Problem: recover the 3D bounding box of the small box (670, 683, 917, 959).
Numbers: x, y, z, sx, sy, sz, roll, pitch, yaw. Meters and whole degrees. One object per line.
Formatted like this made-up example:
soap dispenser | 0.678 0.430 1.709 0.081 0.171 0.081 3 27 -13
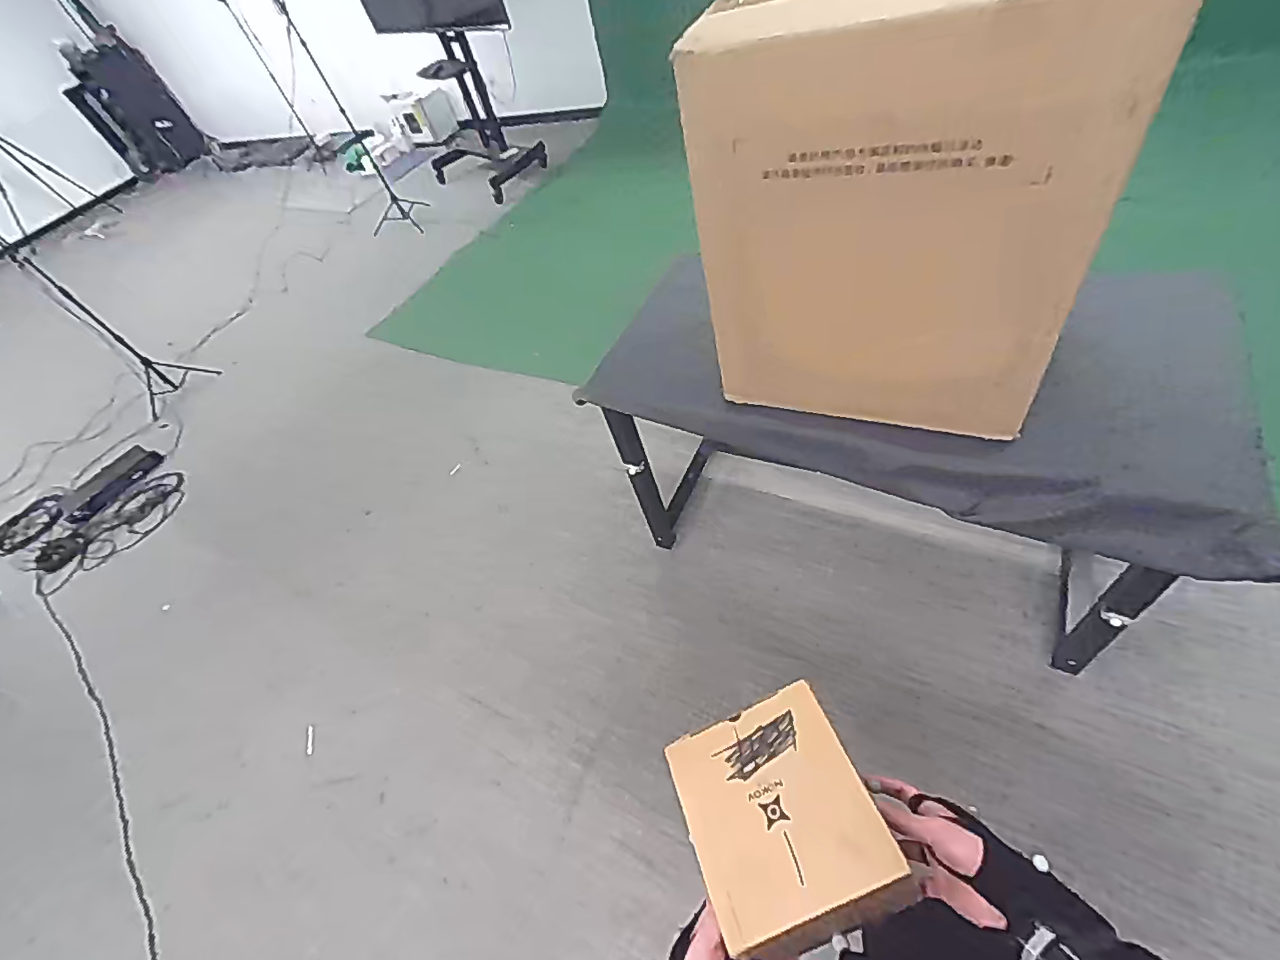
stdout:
small box | 0.154 0.348 0.552 0.168 0.176 0.179 -29 42 4
